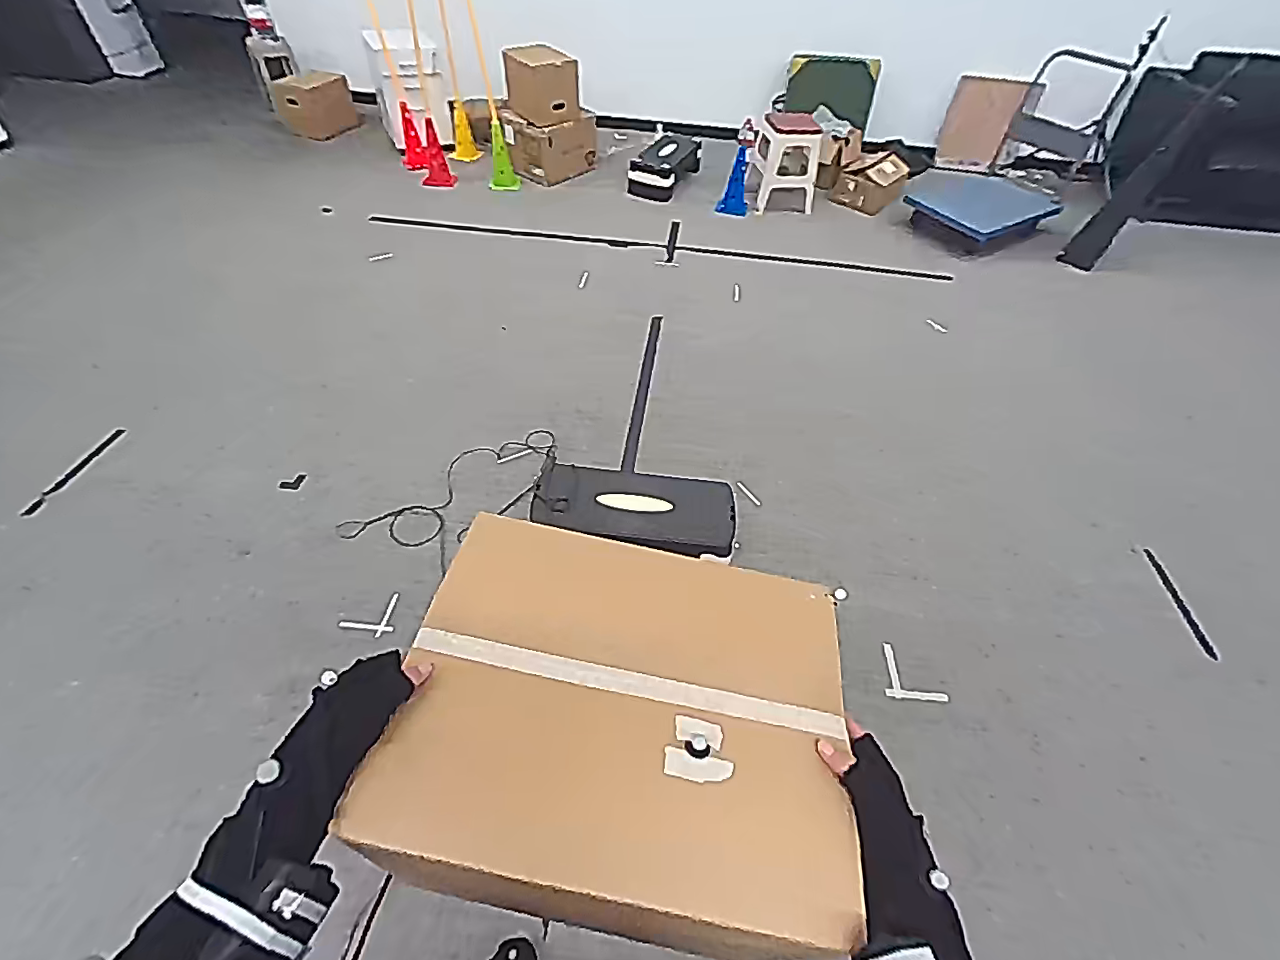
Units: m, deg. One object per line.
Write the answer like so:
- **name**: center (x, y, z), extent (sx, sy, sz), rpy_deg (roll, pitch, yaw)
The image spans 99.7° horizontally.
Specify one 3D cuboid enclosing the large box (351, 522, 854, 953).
- **large box**: center (-0.028, 0.295, 0.620), extent (0.408, 0.320, 0.320), rpy_deg (13, 47, 1)
